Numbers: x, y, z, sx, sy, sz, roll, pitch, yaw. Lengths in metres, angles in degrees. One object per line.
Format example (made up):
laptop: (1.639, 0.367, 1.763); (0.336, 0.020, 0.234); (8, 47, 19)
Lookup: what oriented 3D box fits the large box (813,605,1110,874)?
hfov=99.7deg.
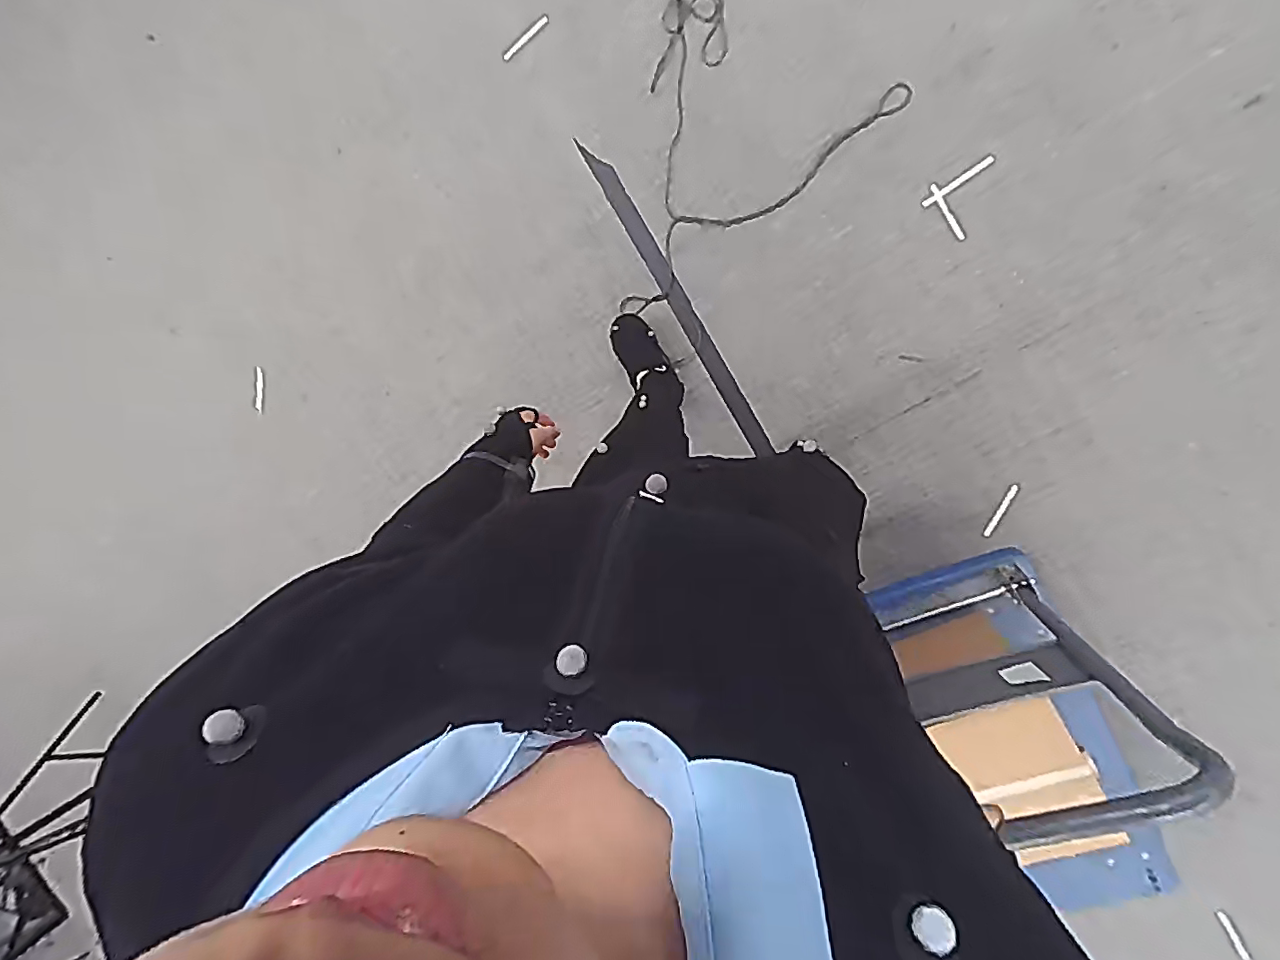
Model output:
large box: (0.623, 0.528, 1.137); (0.408, 0.320, 0.320); (-30, 93, 20)
